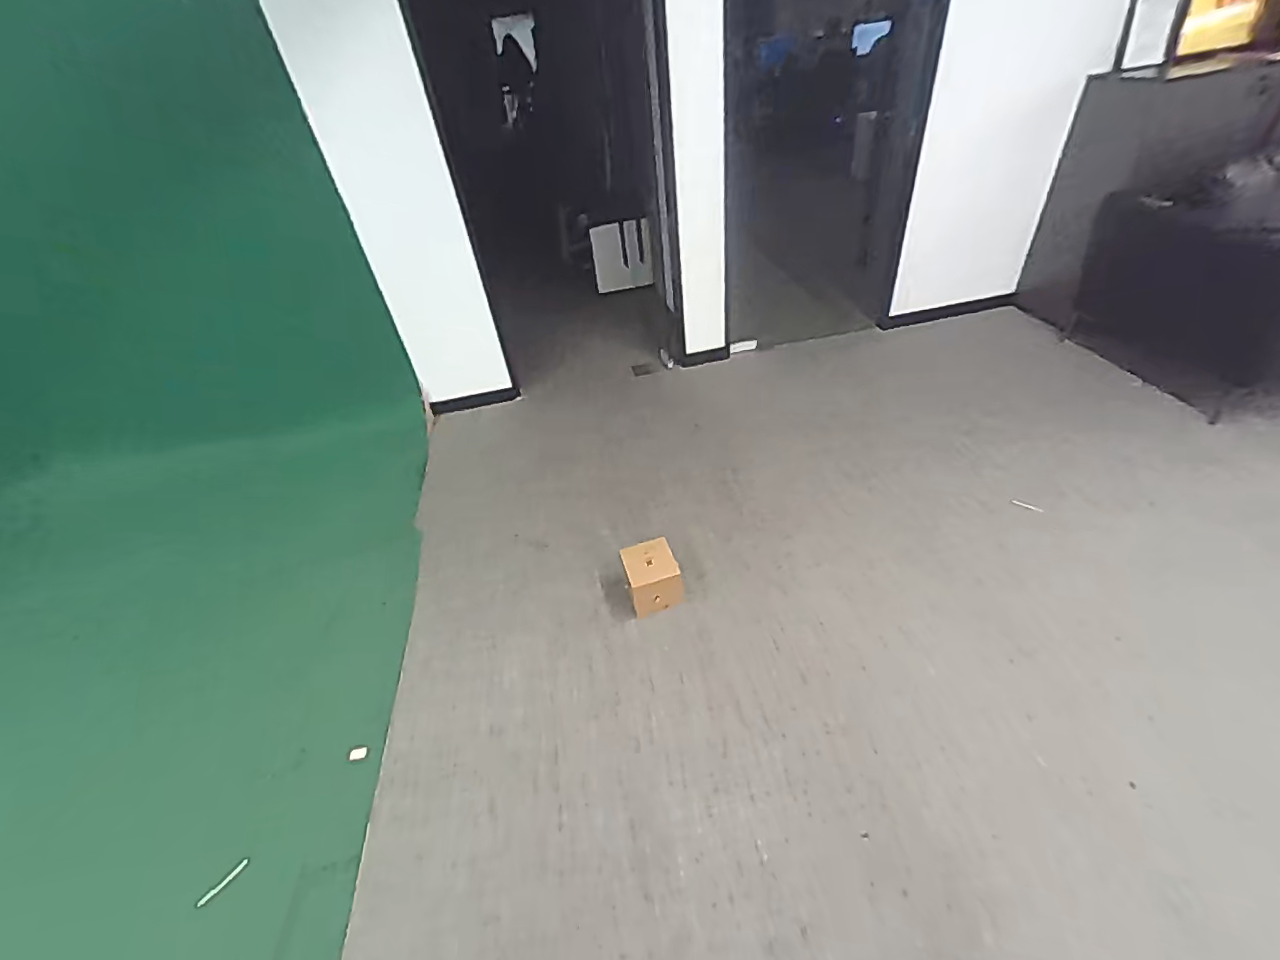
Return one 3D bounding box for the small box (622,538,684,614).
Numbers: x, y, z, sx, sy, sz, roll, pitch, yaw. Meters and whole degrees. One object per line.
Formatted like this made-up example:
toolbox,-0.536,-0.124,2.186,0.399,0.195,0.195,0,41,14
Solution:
small box,0.046,0.332,1.829,0.168,0.176,0.179,-15,41,-8
